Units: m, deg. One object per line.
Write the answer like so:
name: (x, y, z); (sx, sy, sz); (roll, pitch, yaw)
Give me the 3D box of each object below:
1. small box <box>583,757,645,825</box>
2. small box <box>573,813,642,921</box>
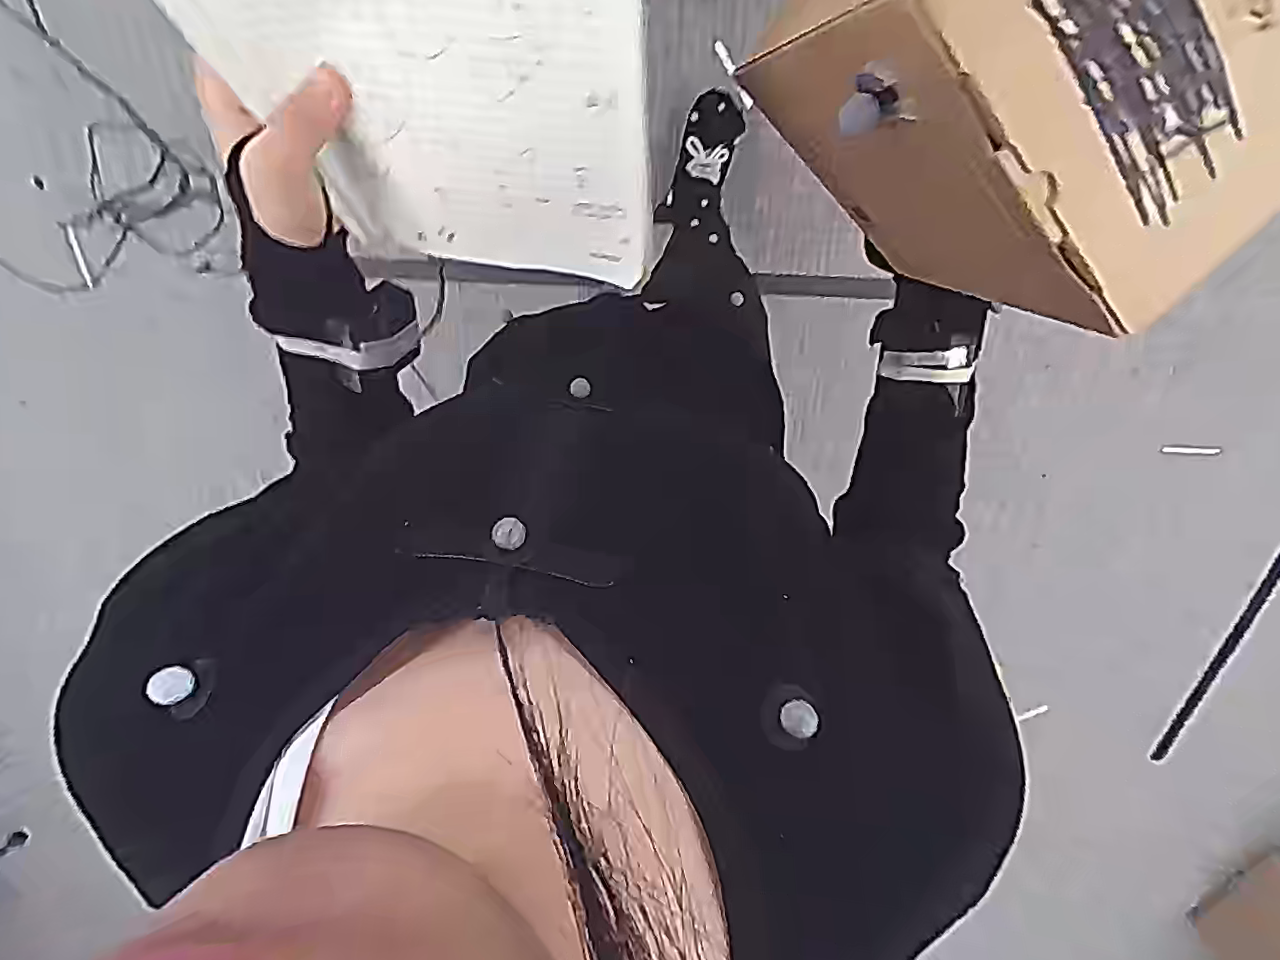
small box: (-0.077, 0.941, 1.578); (0.168, 0.176, 0.179); (7, 116, -1)
small box: (-0.083, 1.019, 1.434); (0.168, 0.176, 0.179); (5, 114, 0)
